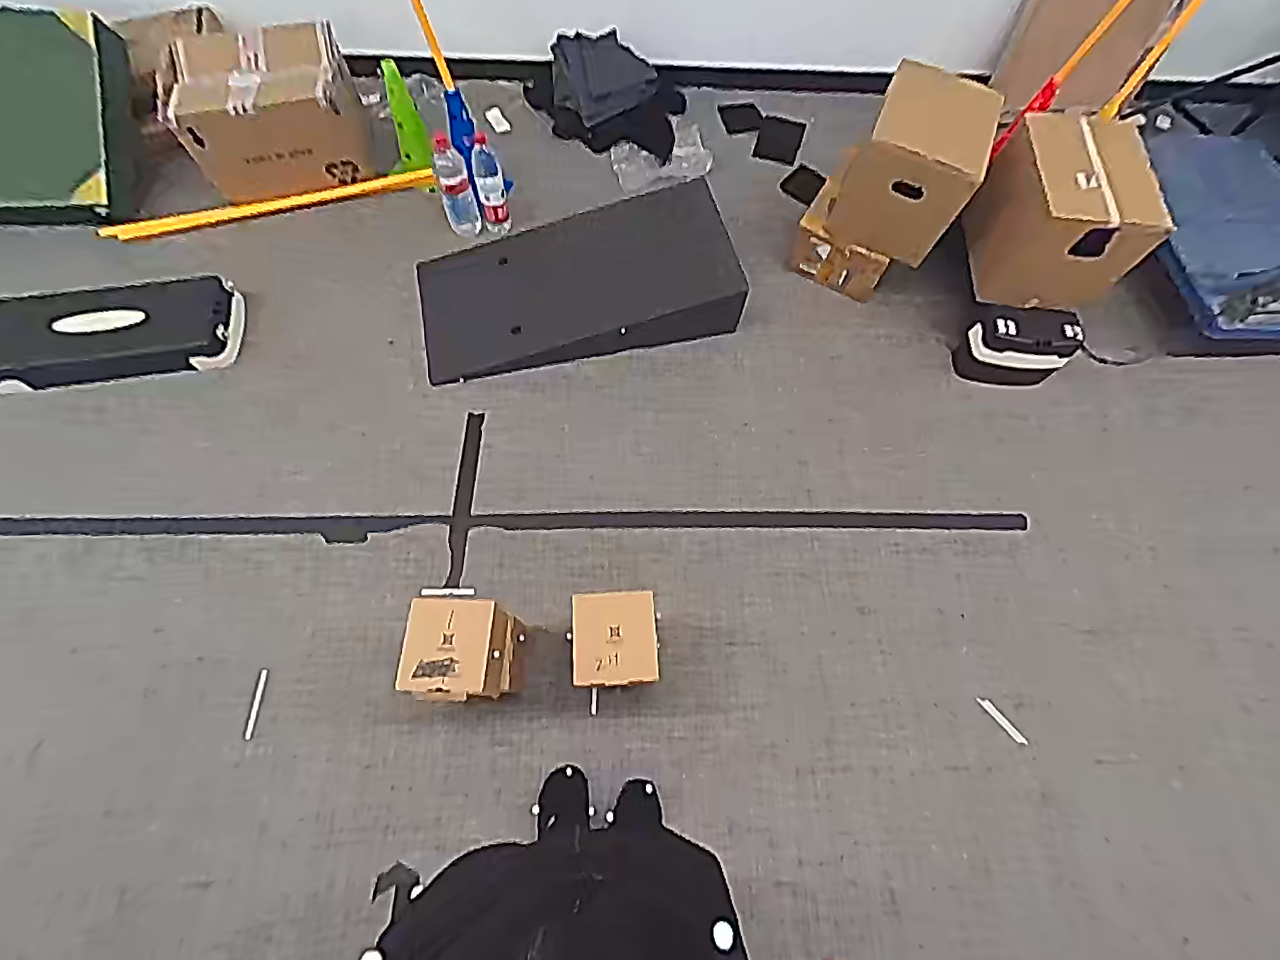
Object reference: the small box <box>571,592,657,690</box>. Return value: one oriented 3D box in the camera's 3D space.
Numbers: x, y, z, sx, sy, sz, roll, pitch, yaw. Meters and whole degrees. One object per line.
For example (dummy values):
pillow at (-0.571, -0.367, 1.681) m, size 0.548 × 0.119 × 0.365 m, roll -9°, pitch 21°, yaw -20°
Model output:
small box at (-0.056, 0.338, 1.127) m, size 0.168 × 0.176 × 0.179 m, roll -2°, pitch 67°, yaw -3°

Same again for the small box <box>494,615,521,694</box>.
small box at (-0.378, 0.409, 1.261) m, size 0.179 × 0.176 × 0.168 m, roll 0°, pitch 67°, yaw -3°

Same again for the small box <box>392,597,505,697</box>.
small box at (-0.379, 0.347, 1.109) m, size 0.168 × 0.176 × 0.179 m, roll 3°, pitch 65°, yaw -2°
